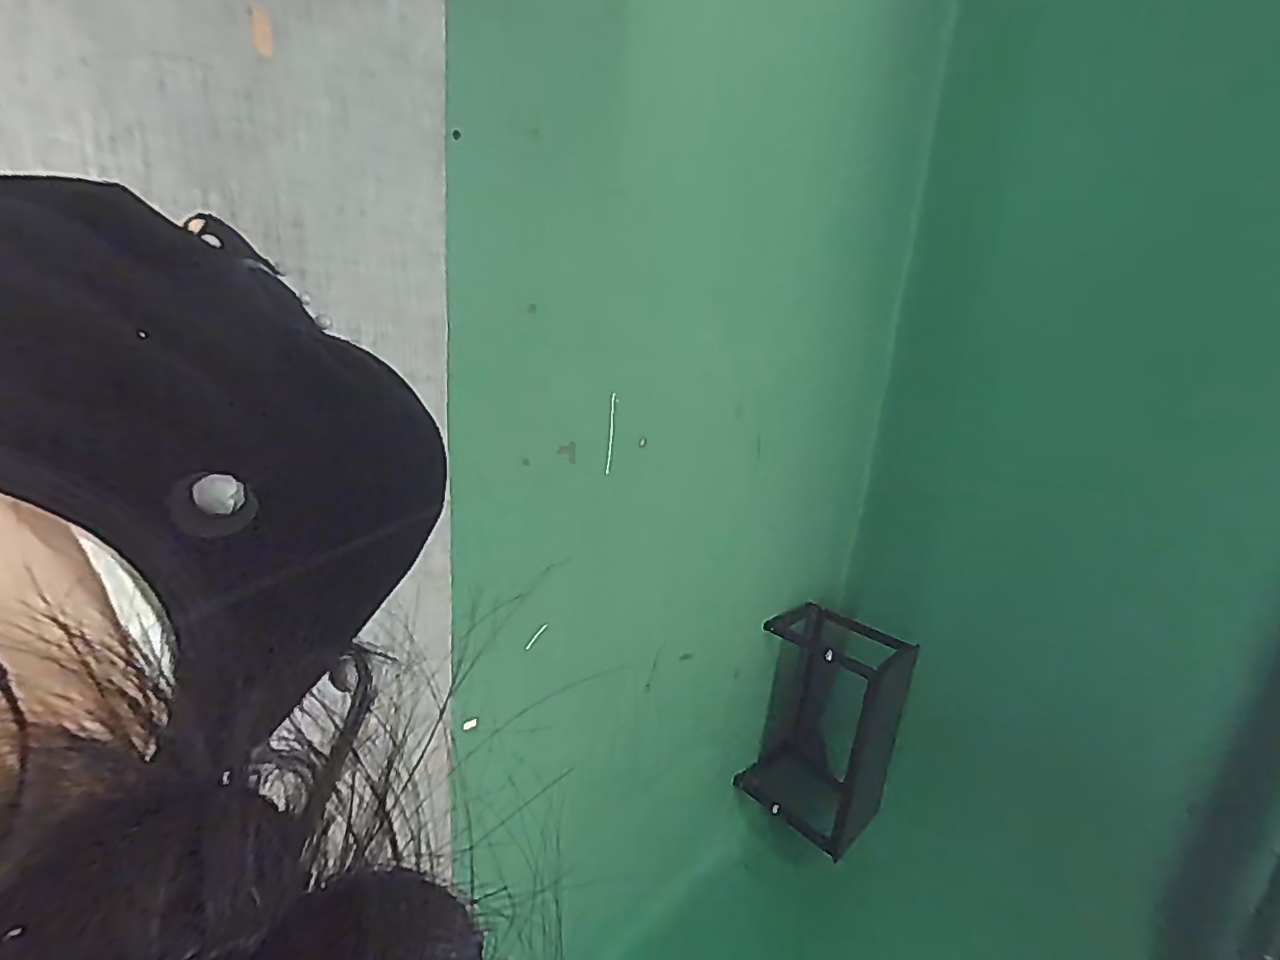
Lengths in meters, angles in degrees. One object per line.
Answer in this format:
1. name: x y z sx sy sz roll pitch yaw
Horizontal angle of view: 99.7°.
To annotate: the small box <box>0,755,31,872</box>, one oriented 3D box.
1. small box: -1.282 0.654 1.000 0.179 0.176 0.168 -20 116 -40
